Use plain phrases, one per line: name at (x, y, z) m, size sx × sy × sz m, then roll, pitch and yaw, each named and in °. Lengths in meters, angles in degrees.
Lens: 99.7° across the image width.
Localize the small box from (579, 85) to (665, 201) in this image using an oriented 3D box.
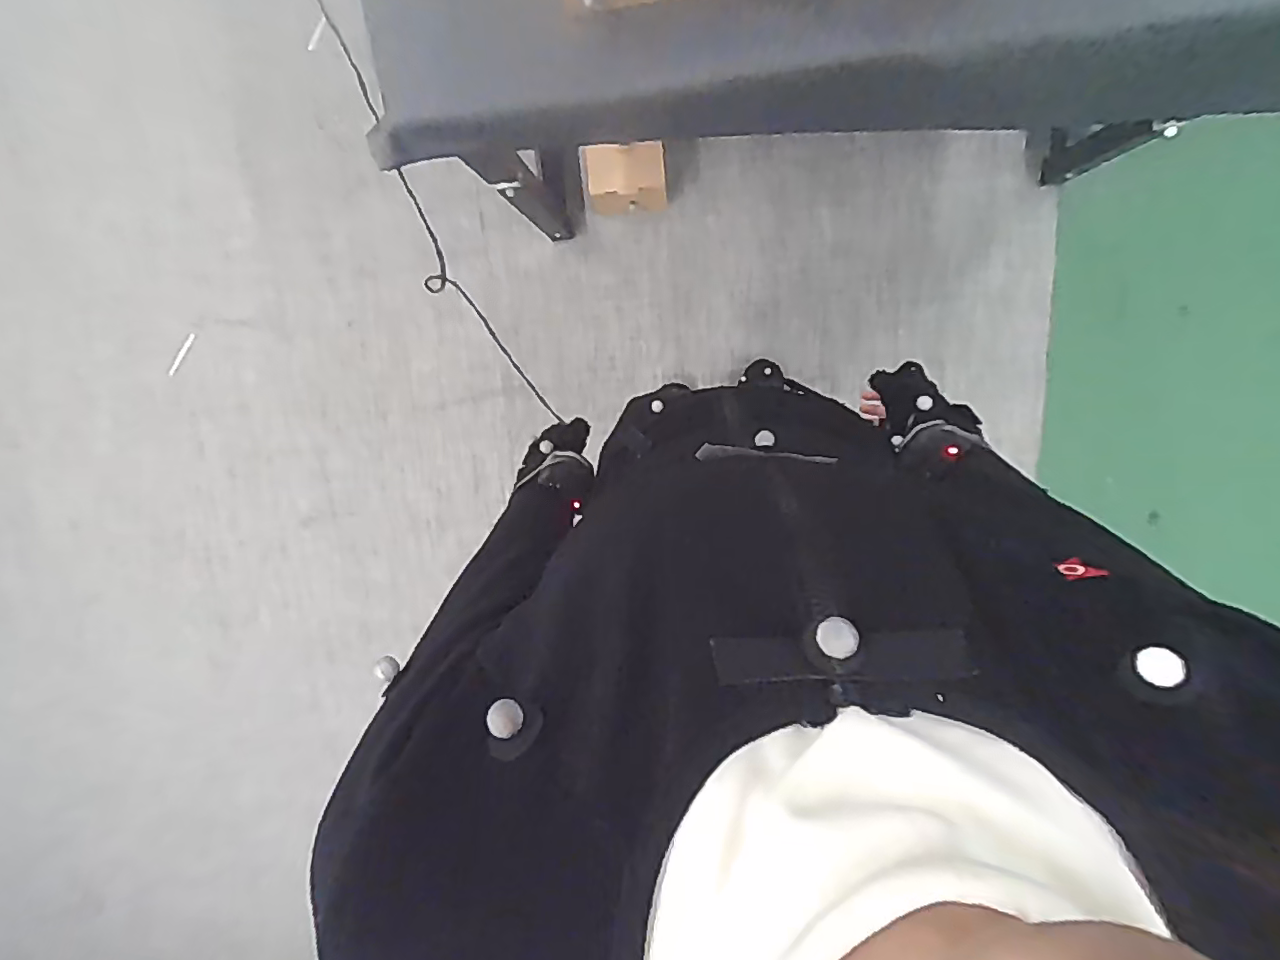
small box at (-0.032, -0.737, 1.204) m, size 0.168 × 0.176 × 0.179 m, roll -4°, pitch 103°, yaw 5°
